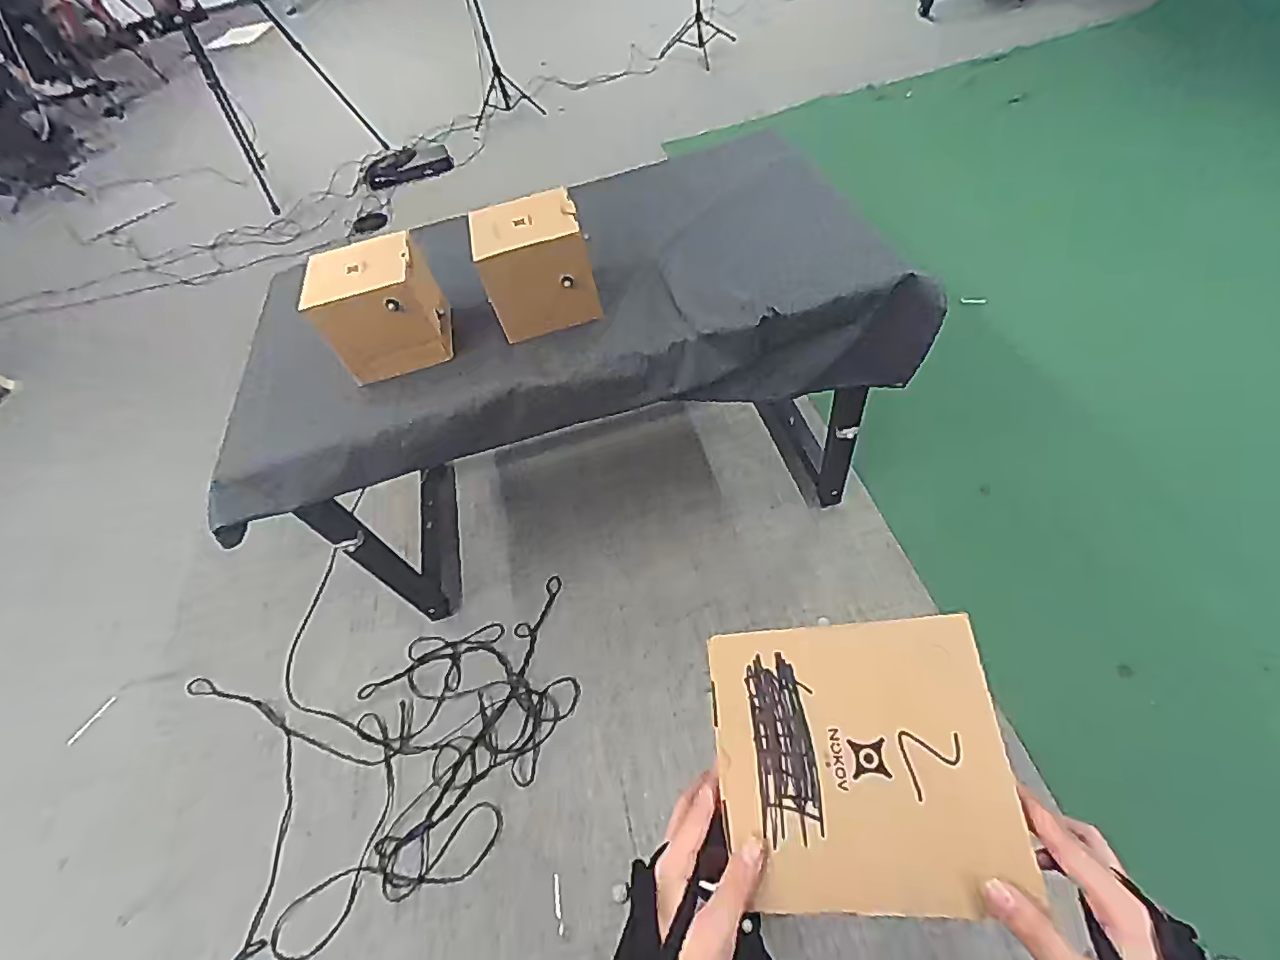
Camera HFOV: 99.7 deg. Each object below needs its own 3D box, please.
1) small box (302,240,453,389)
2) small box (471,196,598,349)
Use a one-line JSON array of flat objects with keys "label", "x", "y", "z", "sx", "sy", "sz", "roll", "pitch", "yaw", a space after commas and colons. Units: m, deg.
[{"label": "small box", "x": -0.451, "y": -0.286, "z": 0.955, "sx": 0.179, "sy": 0.176, "sz": 0.168, "roll": -17, "pitch": 52, "yaw": -2}, {"label": "small box", "x": -0.180, "y": -0.363, "z": 0.957, "sx": 0.179, "sy": 0.176, "sz": 0.168, "roll": -17, "pitch": 52, "yaw": 0}]
